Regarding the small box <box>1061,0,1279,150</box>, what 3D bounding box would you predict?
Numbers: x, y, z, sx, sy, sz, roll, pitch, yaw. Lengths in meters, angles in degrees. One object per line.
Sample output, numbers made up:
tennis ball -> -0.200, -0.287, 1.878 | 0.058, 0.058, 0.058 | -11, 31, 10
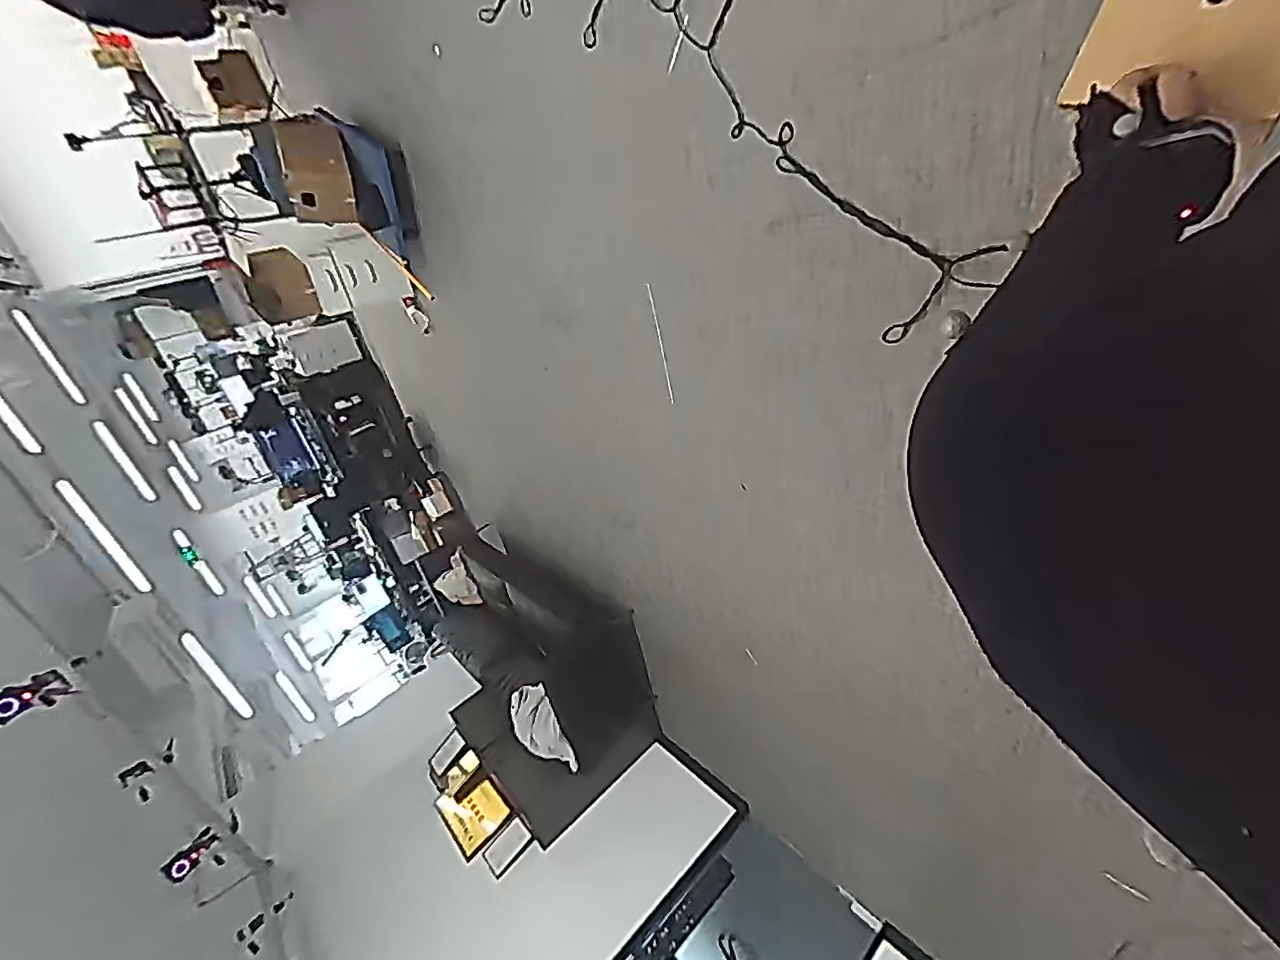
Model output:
small box -> 0.539, -0.427, 0.506 | 0.168, 0.179, 0.176 | 32, 125, 32
